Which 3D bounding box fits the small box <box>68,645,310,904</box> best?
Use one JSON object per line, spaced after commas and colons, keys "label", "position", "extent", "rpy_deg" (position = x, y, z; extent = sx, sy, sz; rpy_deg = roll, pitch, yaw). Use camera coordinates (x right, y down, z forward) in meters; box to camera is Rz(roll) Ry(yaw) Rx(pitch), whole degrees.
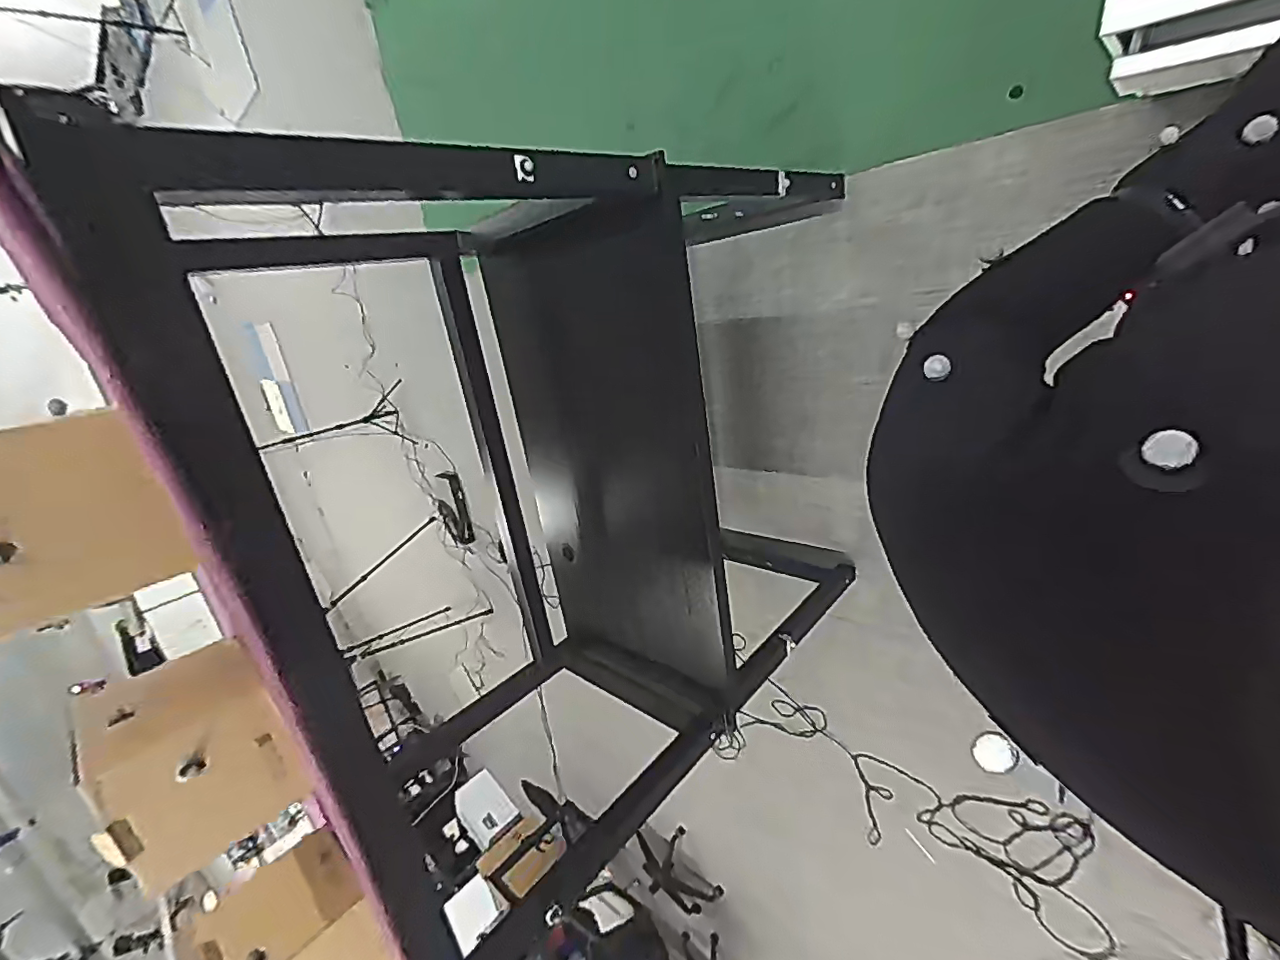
{"label": "small box", "position": [-0.519, 0.323, 0.637], "extent": [0.179, 0.176, 0.168], "rpy_deg": [11, 117, 43]}

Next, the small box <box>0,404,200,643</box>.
{"label": "small box", "position": [-0.578, 0.031, 0.542], "extent": [0.168, 0.176, 0.179], "rpy_deg": [10, 117, 46]}
